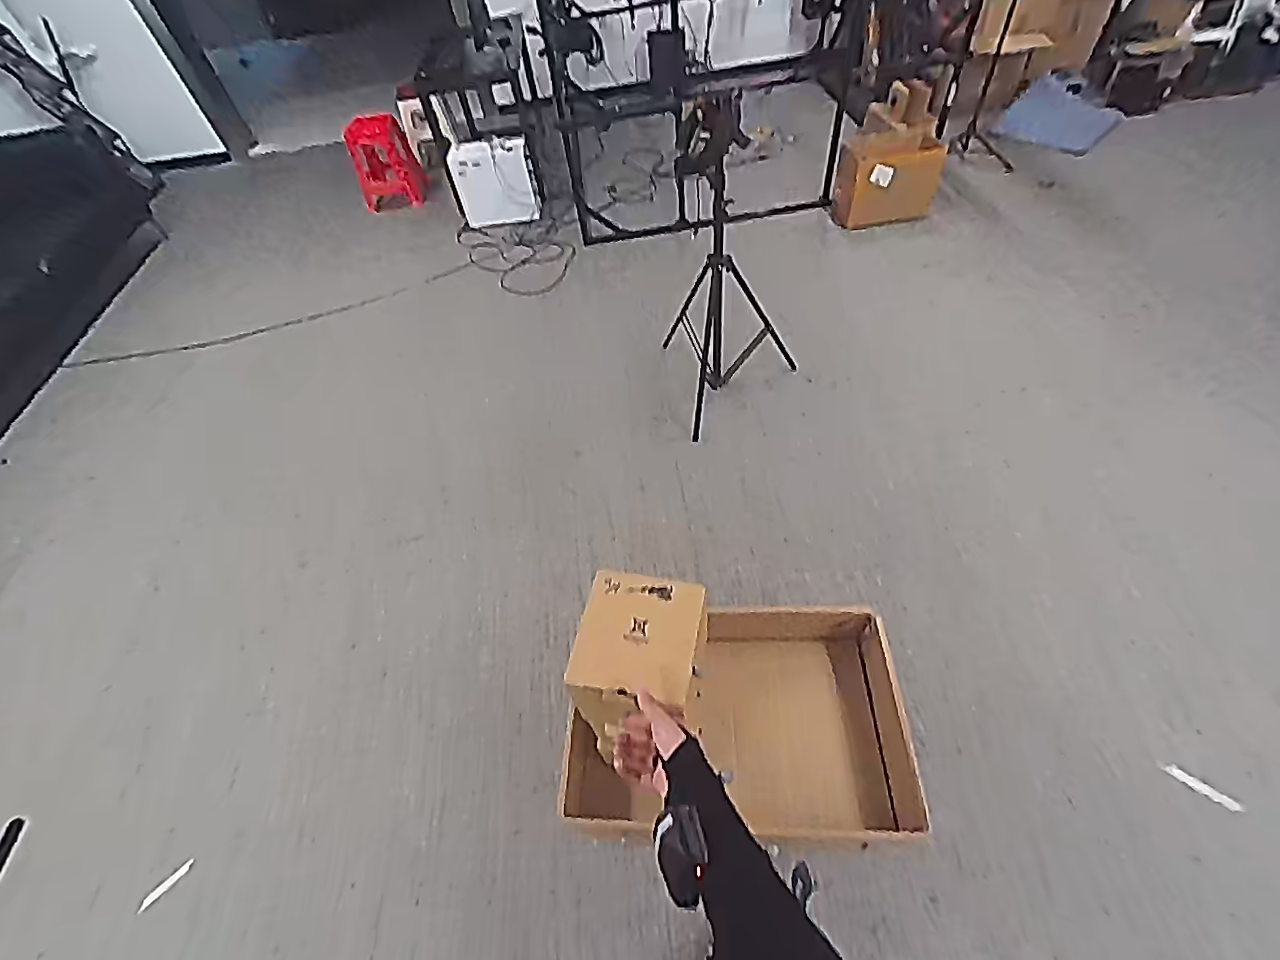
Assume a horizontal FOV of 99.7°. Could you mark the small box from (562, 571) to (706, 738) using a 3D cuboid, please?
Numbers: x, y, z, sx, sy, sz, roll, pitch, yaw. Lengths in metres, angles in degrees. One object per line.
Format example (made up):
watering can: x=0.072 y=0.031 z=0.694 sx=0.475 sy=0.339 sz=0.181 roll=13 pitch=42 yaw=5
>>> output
small box: x=0.004 y=0.262 z=0.804 sx=0.168 sy=0.176 sz=0.179 roll=7 pitch=53 yaw=14

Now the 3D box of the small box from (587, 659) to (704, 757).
small box: x=0.019 y=0.361 z=0.935 sx=0.168 sy=0.176 sz=0.179 roll=4 pitch=51 yaw=11
